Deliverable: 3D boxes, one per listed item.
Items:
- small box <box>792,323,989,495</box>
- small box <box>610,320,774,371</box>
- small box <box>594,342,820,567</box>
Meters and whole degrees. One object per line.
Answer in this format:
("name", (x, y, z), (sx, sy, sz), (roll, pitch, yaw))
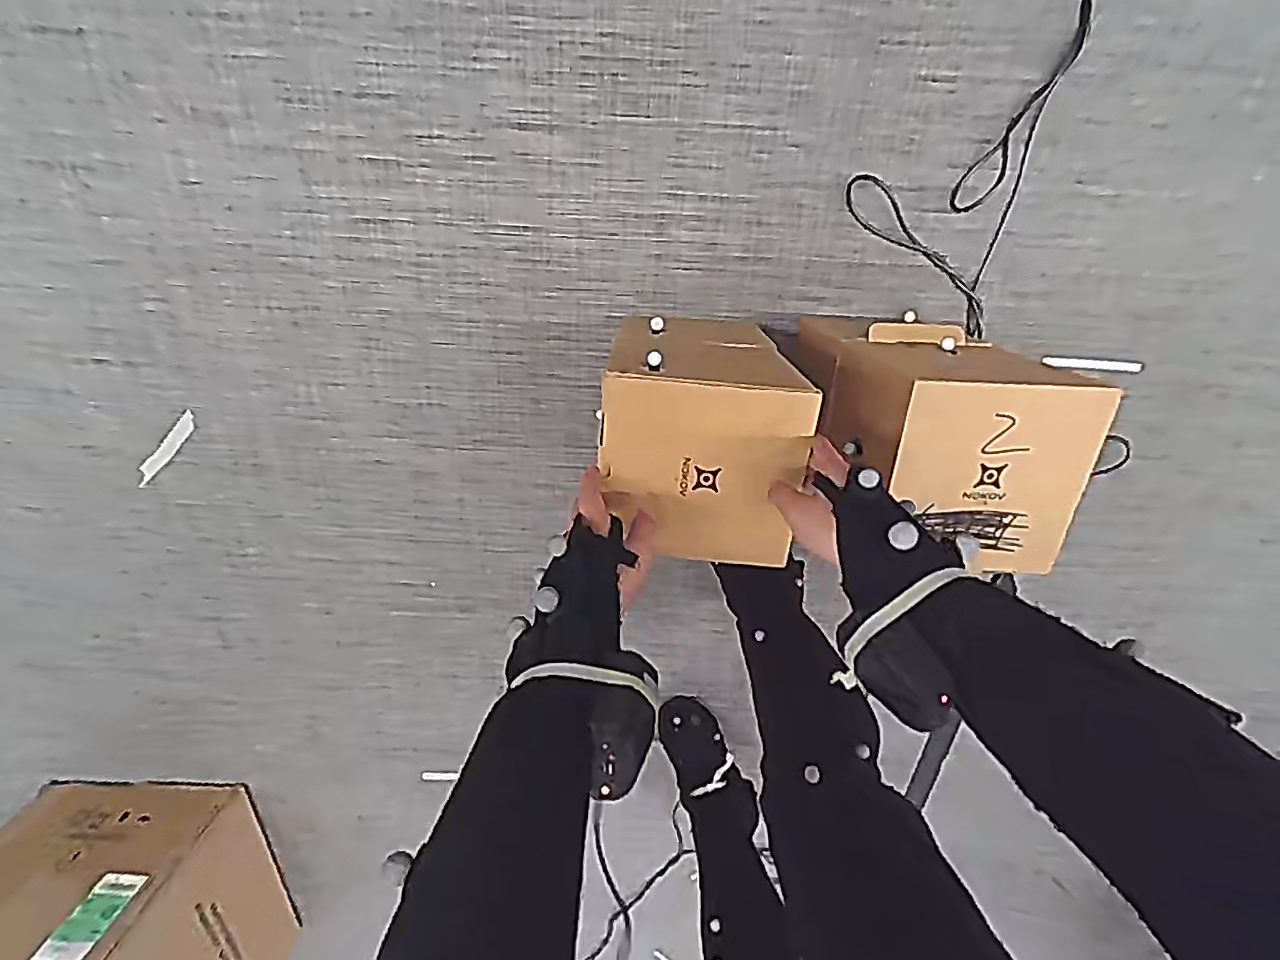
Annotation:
("small box", (0.286, -0.096, 0.678), (0.168, 0.176, 0.179), (2, 115, 0))
("small box", (0.054, -0.103, 0.678), (0.179, 0.176, 0.168), (4, 115, 0))
("small box", (0.052, -0.034, 0.531), (0.179, 0.176, 0.168), (5, 115, 0))
